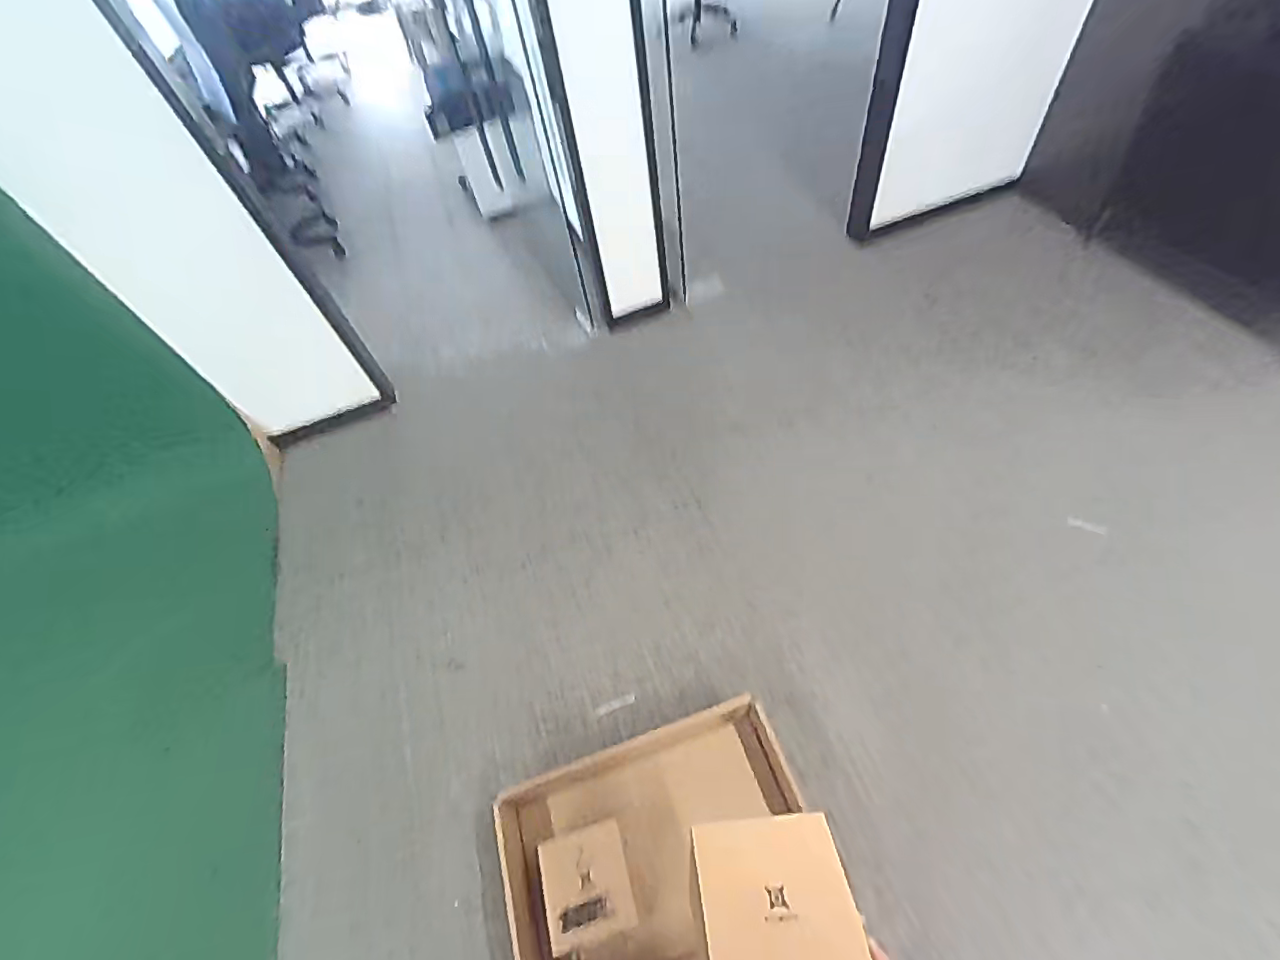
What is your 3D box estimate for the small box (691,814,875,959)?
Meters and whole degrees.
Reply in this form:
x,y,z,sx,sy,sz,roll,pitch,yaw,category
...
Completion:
x,y,z,sx,sy,sz,roll,pitch,yaw,category
0.150,0.519,0.615,0.168,0.176,0.179,-4,33,-2,small box
